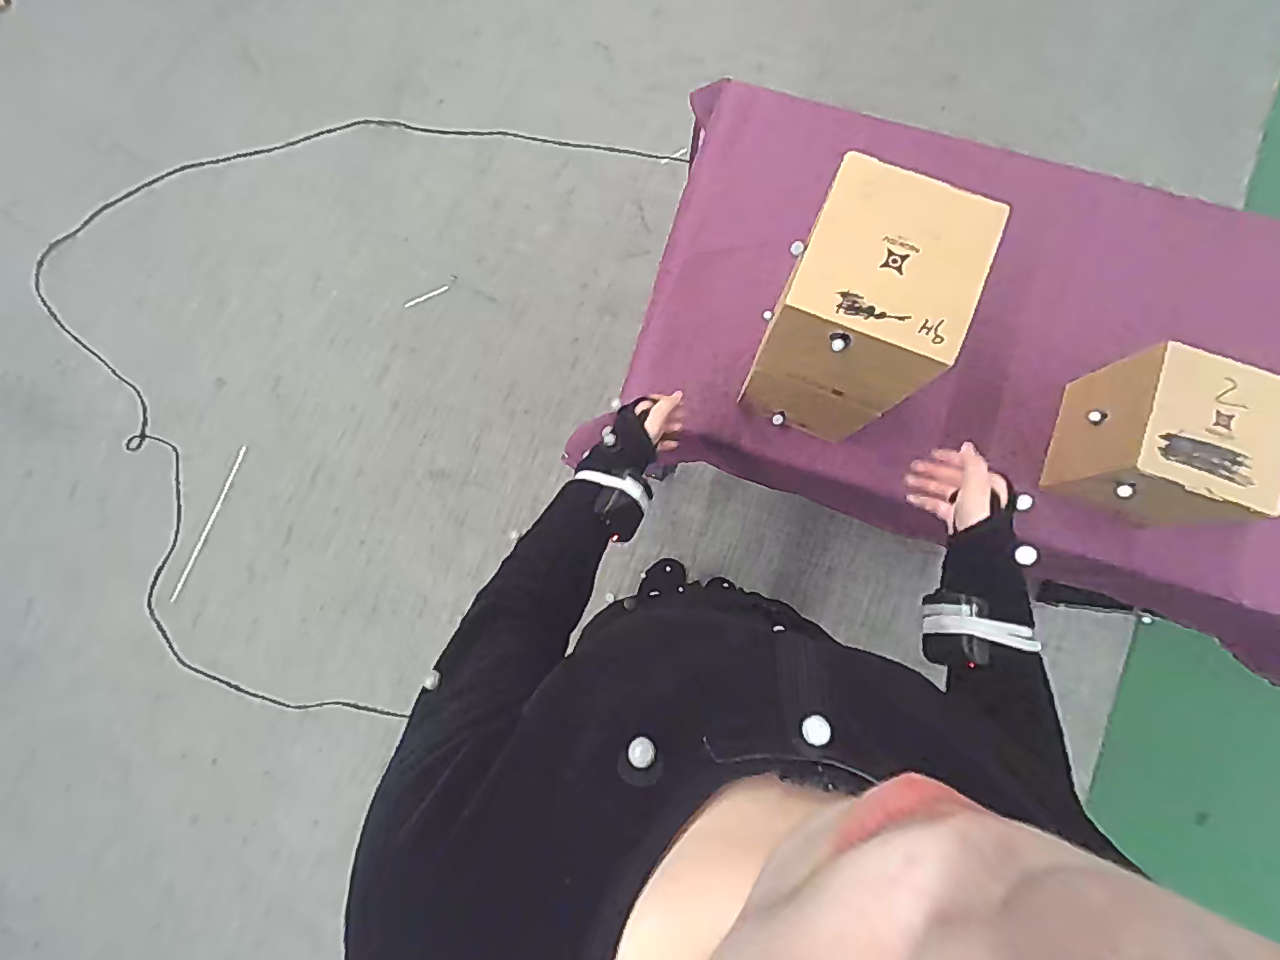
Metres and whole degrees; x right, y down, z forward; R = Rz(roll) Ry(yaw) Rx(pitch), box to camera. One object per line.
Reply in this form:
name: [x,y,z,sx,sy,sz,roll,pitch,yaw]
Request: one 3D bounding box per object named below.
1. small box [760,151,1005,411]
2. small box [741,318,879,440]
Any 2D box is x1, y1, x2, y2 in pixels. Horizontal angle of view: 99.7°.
small box: [0.244,-0.201,0.589,0.168,0.176,0.179,23,82,7]
small box: [0.251,-0.176,0.752,0.168,0.176,0.179,23,84,6]
